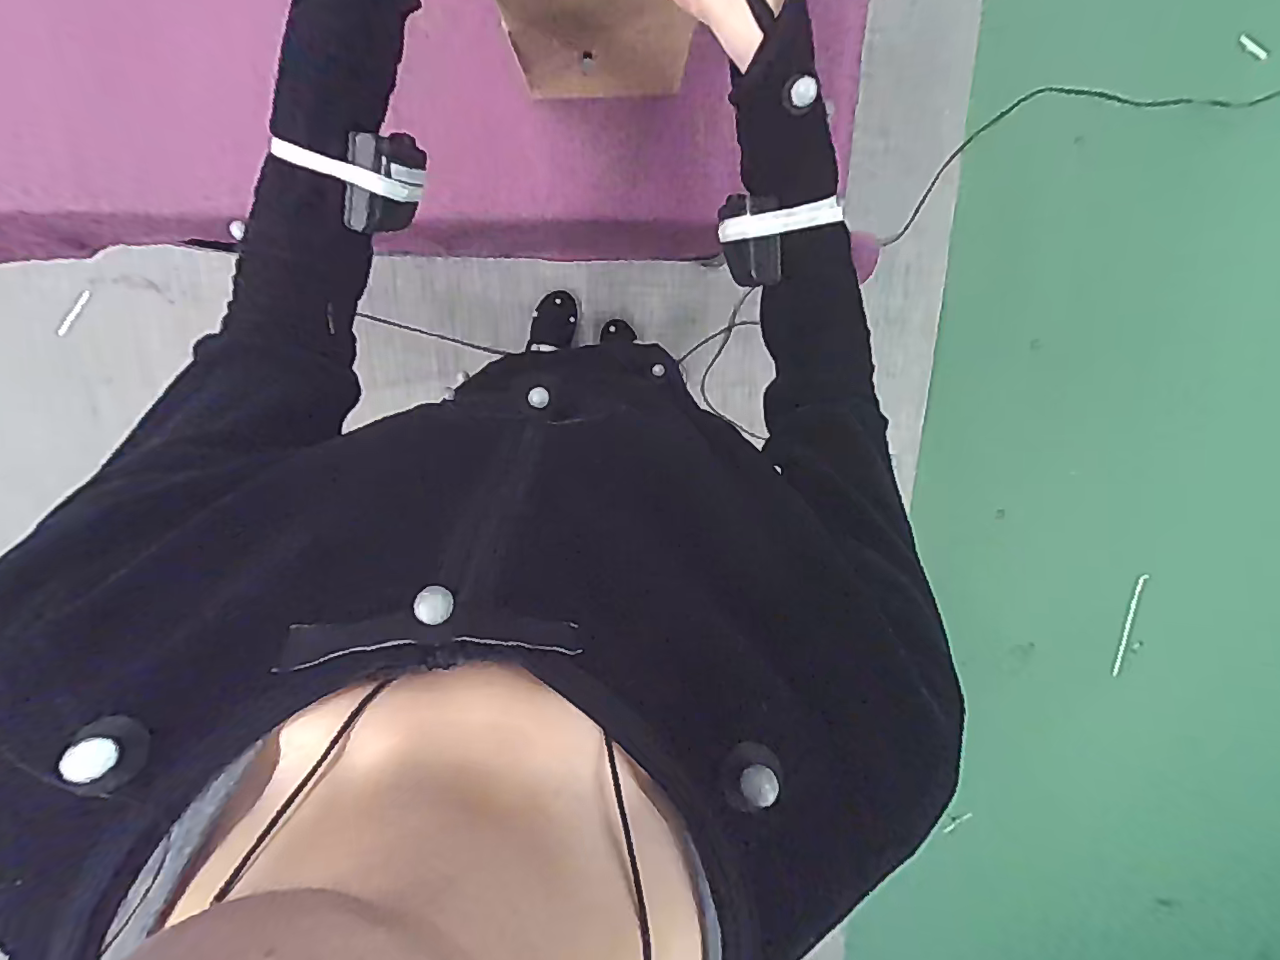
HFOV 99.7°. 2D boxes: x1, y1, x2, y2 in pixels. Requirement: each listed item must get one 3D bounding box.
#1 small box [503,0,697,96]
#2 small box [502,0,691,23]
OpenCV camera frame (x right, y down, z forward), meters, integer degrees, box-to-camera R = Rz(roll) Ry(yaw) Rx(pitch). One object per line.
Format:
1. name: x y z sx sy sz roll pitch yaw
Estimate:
1. small box: -0.038 -0.511 0.541 0.179 0.176 0.168 -2 106 -1
2. small box: -0.032 -0.464 0.382 0.179 0.176 0.168 -2 104 0
